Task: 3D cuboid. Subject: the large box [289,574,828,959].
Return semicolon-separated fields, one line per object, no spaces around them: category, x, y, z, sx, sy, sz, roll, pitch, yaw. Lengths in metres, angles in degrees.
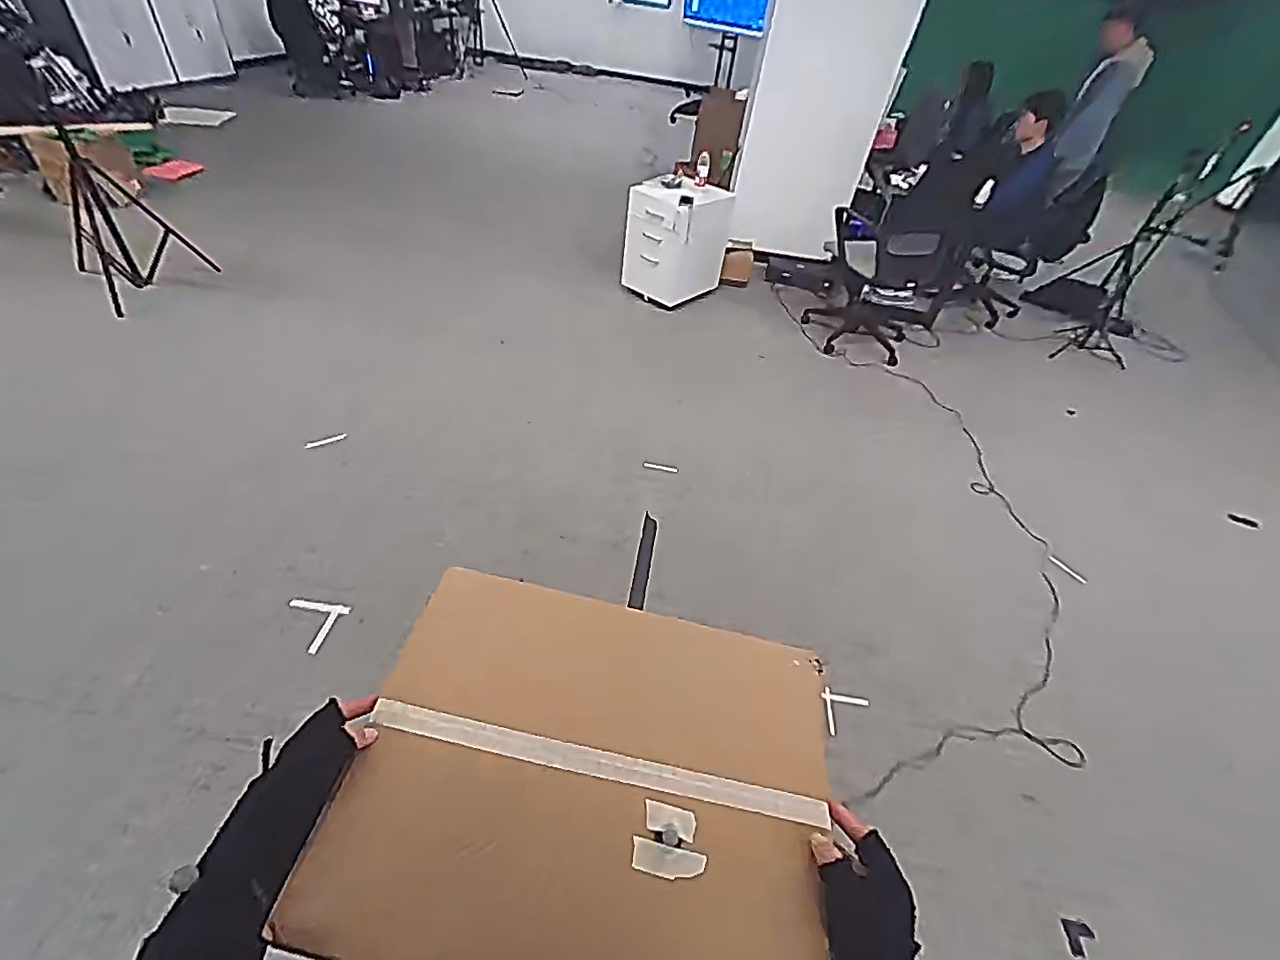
large box;-0.058;0.351;0.589;0.408;0.320;0.320;14;47;0
